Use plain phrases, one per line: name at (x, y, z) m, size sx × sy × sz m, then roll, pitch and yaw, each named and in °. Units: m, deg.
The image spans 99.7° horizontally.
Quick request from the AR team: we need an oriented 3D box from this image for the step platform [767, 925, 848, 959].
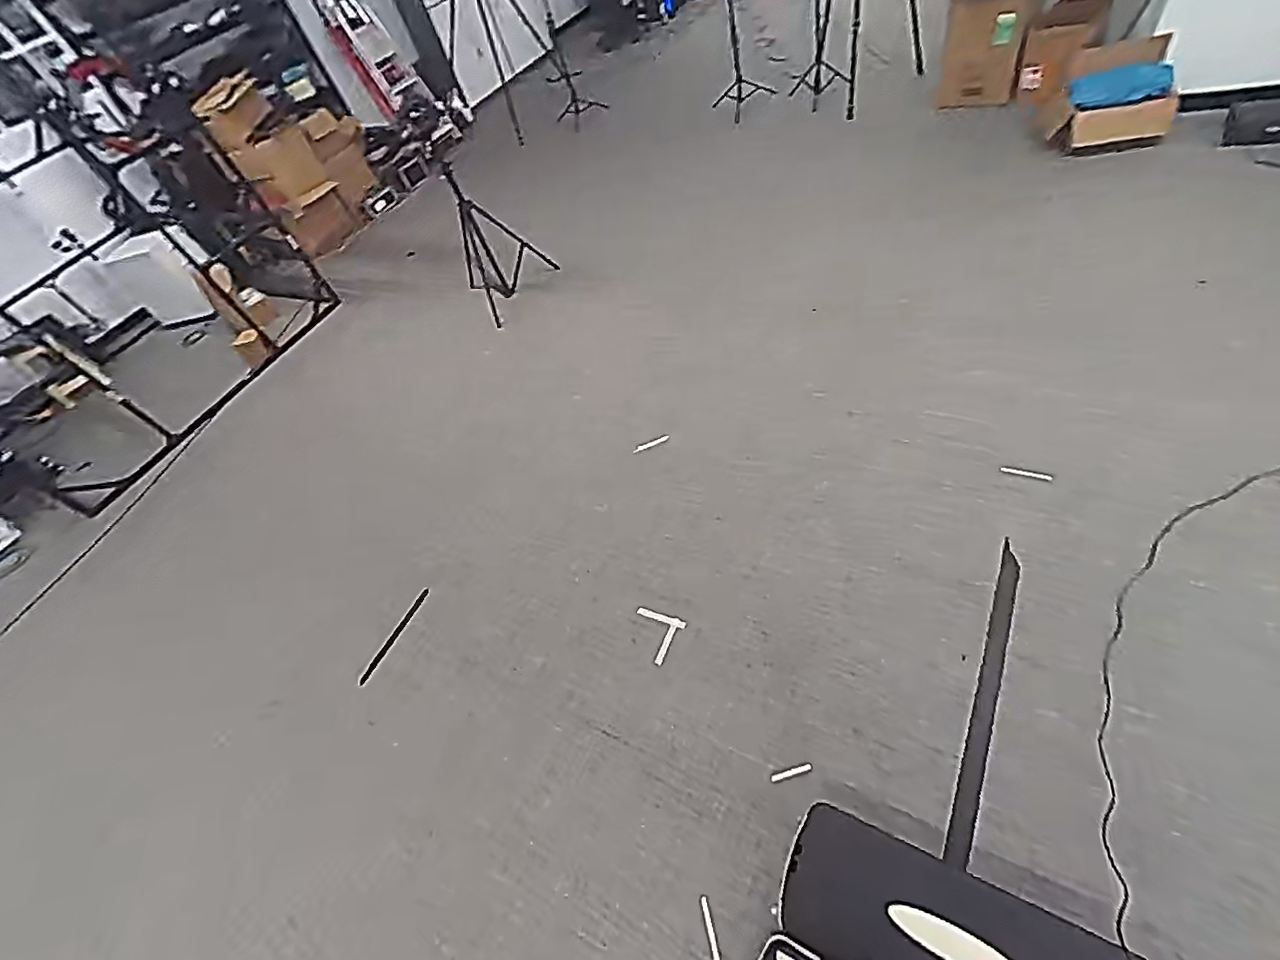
step platform at (0.532, 1.133, 0.959) m, size 0.684 × 0.204 × 0.286 m, roll 12°, pitch 56°, yaw 29°
